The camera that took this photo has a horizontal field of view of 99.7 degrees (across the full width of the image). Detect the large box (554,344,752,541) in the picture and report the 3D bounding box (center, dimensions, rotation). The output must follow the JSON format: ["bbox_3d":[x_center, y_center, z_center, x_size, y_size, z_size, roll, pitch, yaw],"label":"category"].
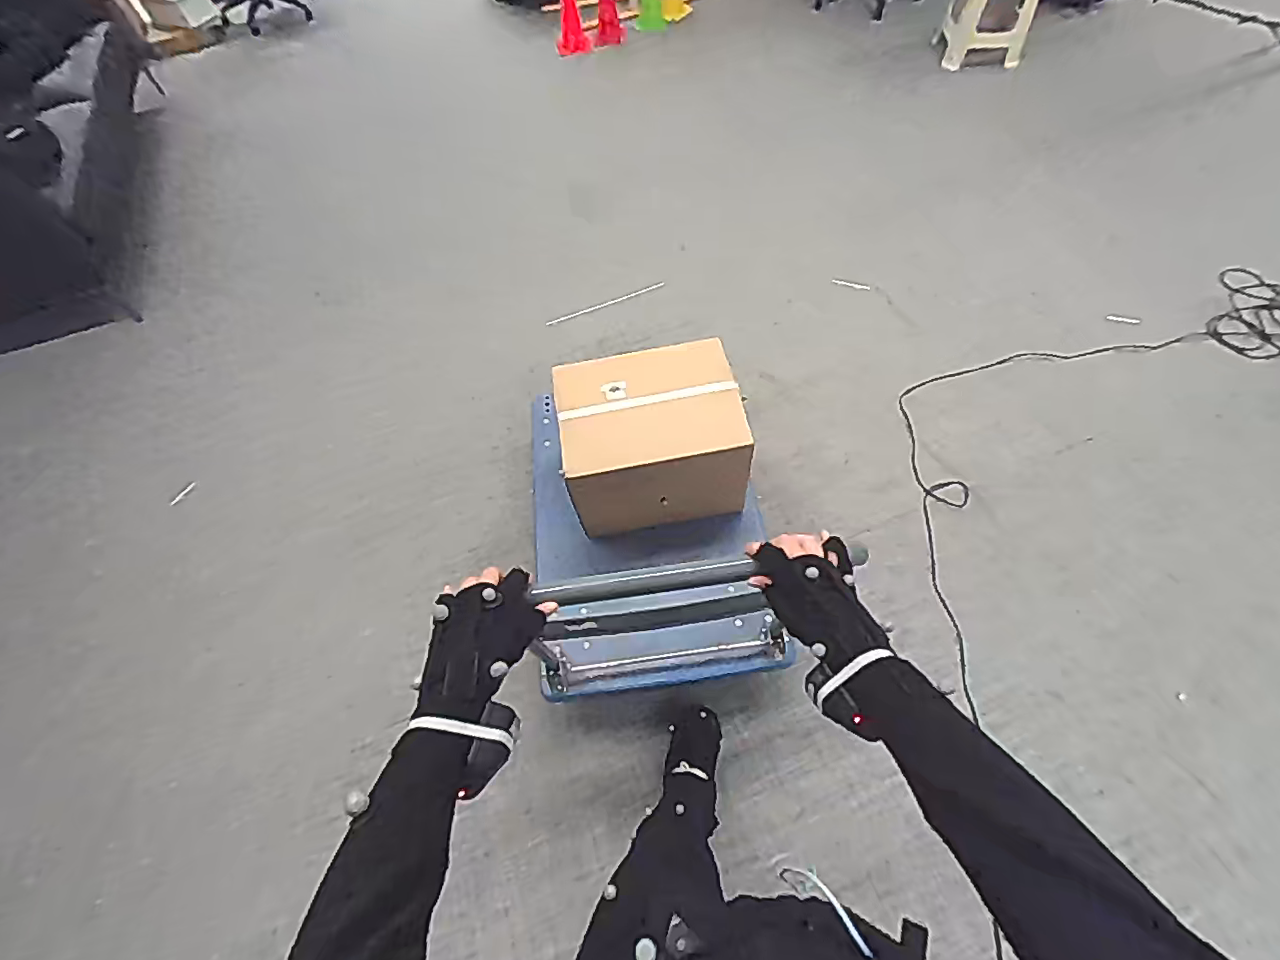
[{"bbox_3d":[0.031,-0.081,1.329,0.408,0.320,0.320,-11,58,0],"label":"large box"}]
